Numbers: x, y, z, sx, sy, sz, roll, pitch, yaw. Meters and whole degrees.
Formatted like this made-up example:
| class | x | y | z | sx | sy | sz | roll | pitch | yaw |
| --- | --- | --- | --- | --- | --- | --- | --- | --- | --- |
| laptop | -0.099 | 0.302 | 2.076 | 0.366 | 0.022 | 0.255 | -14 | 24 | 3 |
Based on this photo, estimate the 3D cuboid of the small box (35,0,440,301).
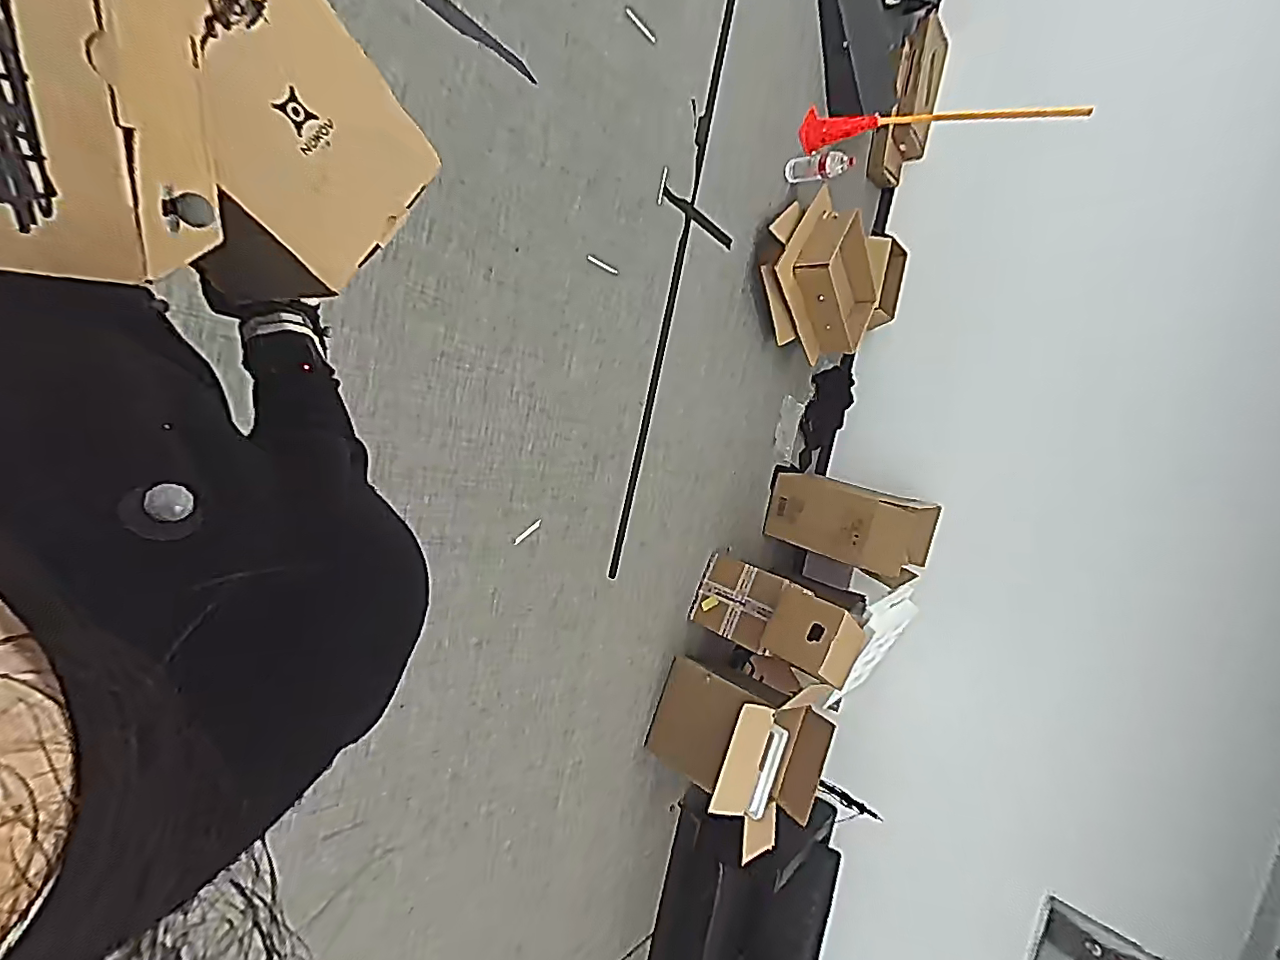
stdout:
| class | x | y | z | sx | sy | sz | roll | pitch | yaw |
| --- | --- | --- | --- | --- | --- | --- | --- | --- | --- |
| small box | -0.313 | -0.272 | 0.444 | 0.168 | 0.176 | 0.179 | -66 | 147 | -21 |
